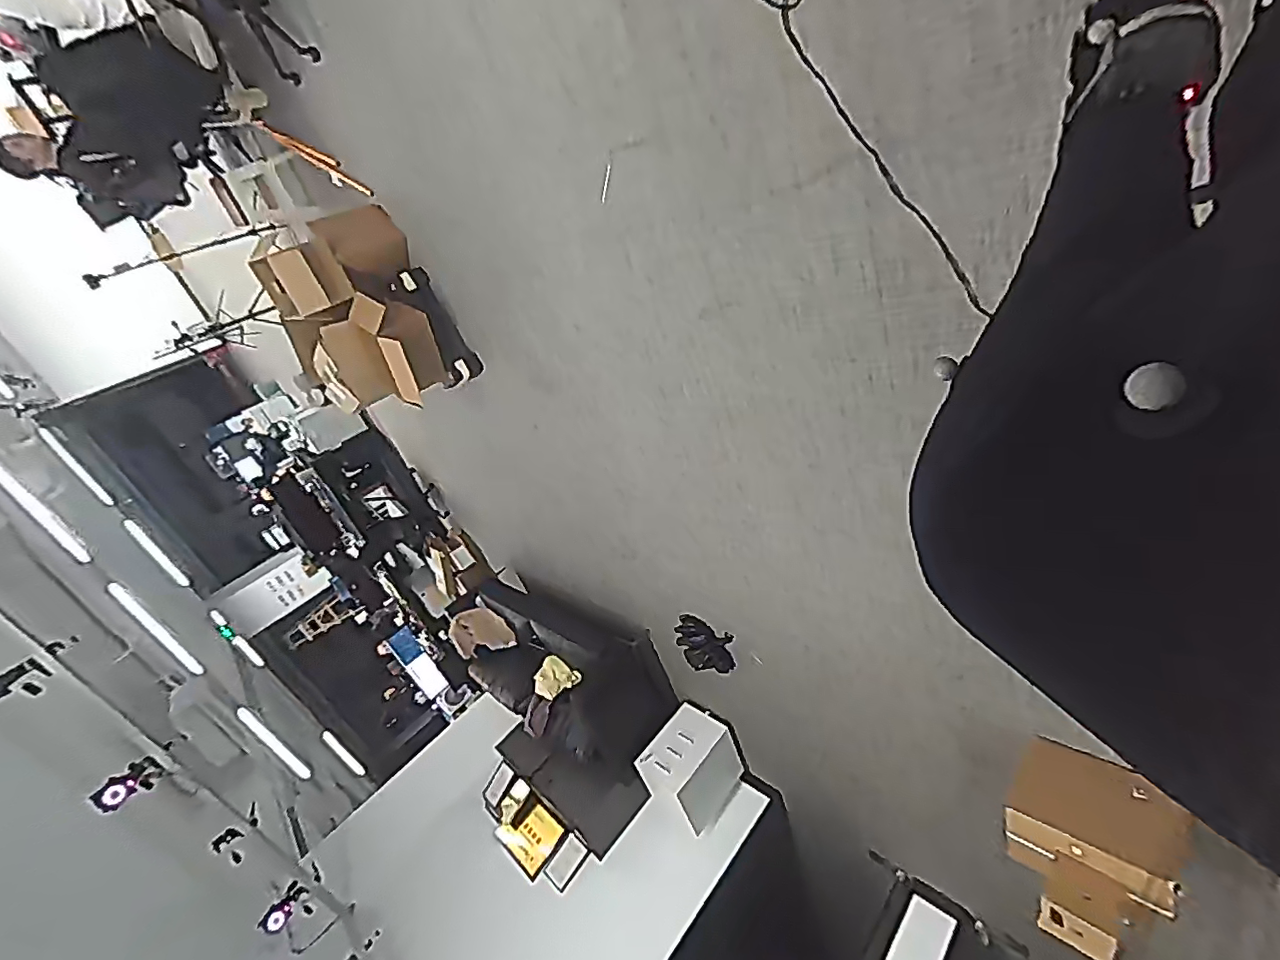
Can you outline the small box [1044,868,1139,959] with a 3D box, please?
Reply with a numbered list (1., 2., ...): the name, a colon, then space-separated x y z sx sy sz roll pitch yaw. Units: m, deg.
1. small box: 1.333 1.298 1.599 0.179 0.176 0.168 16 130 44
